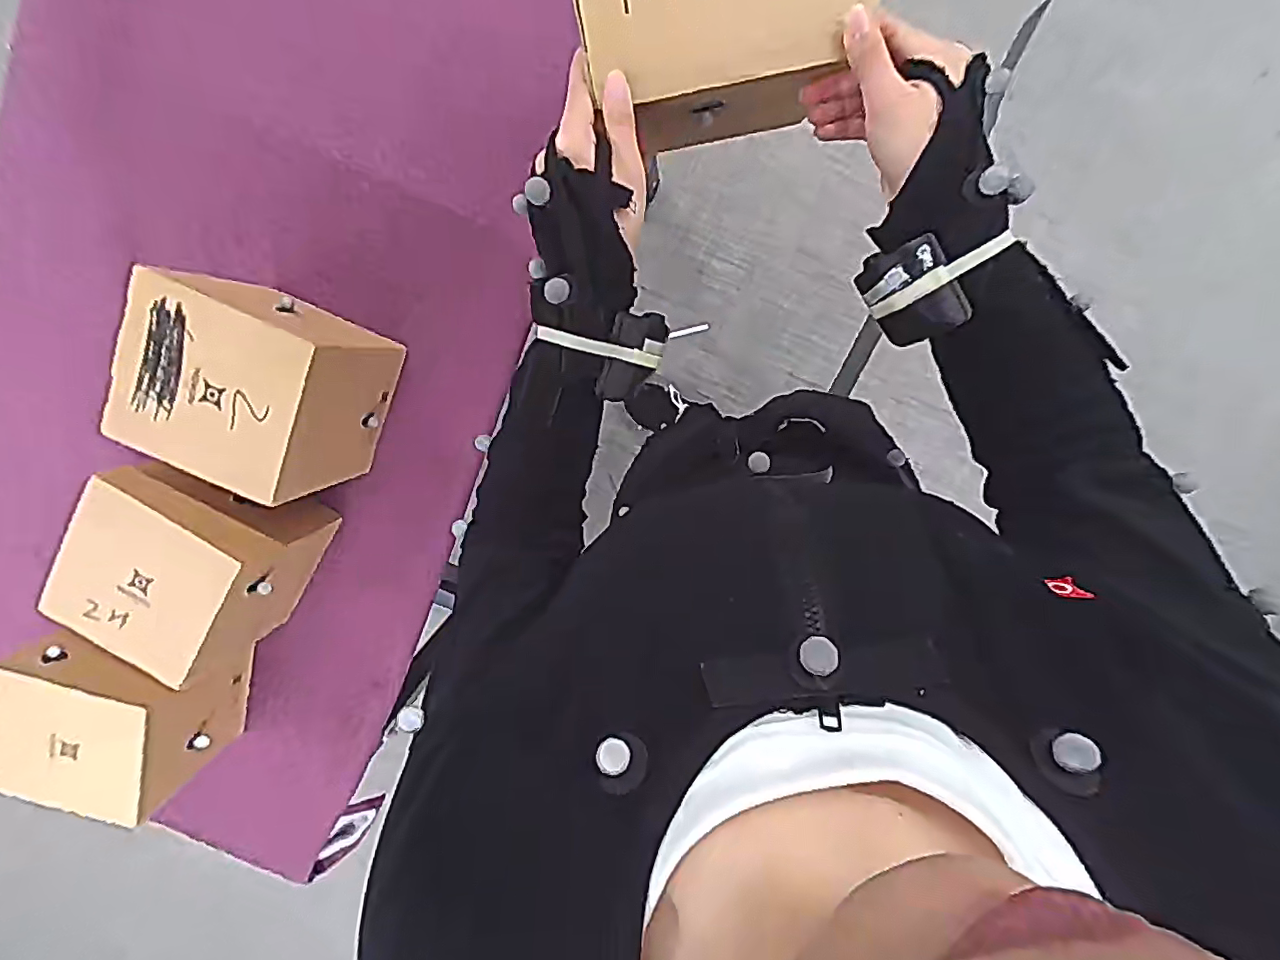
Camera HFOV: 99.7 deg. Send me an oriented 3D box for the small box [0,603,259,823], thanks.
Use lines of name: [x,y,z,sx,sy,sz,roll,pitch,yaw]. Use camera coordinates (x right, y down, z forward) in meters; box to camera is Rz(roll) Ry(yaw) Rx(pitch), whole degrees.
small box: [-0.617,0.274,0.671,0.179,0.176,0.168,15,103,0]

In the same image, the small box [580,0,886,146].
small box: [0.045,-0.350,0.369,0.179,0.176,0.168,-10,111,3]
